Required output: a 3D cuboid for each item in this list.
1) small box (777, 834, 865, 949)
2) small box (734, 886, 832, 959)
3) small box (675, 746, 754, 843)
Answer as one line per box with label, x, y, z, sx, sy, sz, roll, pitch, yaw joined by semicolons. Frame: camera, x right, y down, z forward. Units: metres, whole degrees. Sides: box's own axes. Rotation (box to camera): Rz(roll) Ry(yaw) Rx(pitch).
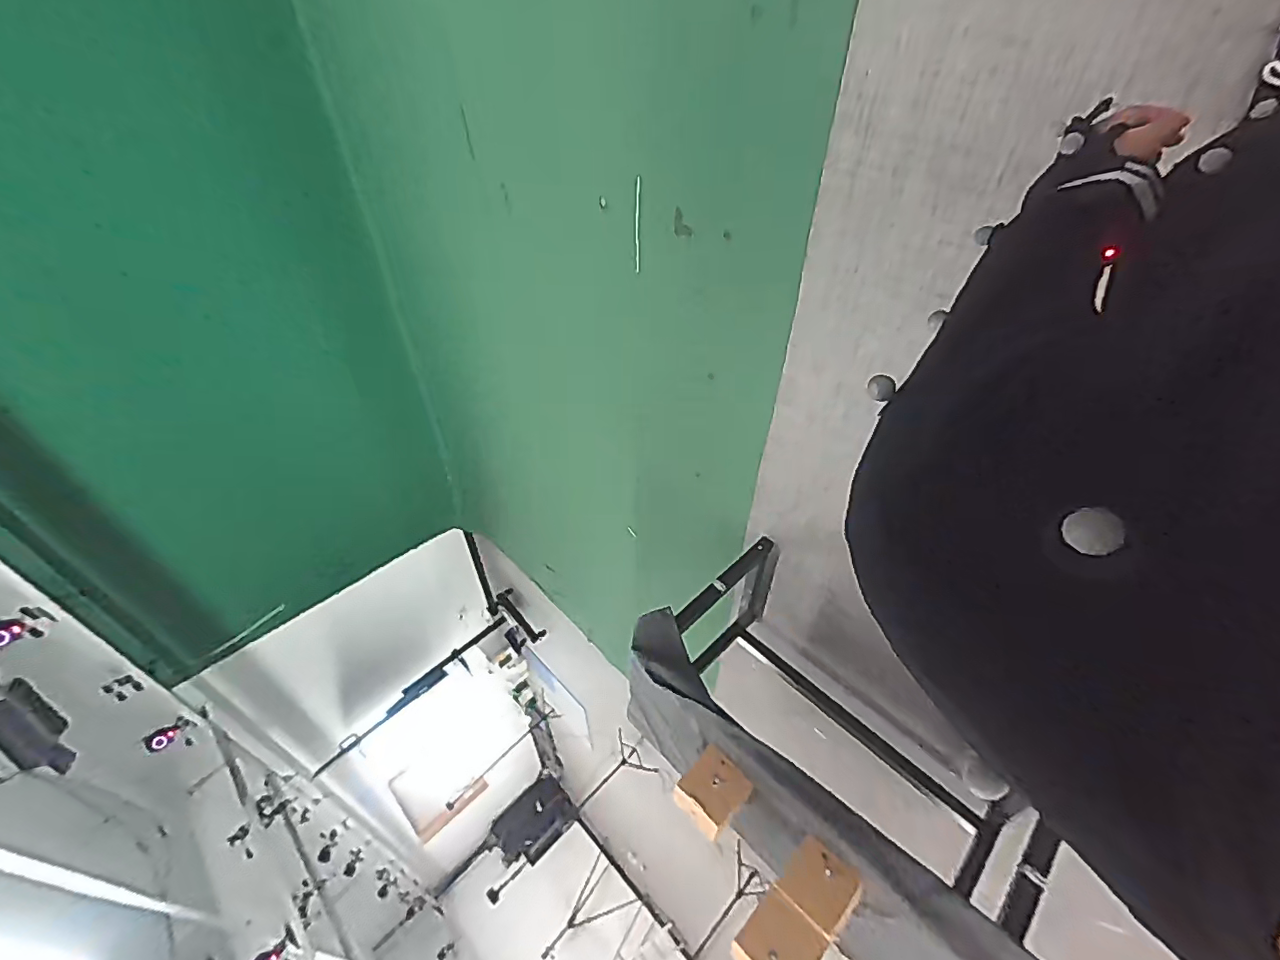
small box;0.480;1.104;1.445;0.168;0.176;0.179;27;138;39
small box;0.363;1.191;1.373;0.179;0.176;0.168;31;140;36
small box;0.229;0.957;1.655;0.168;0.176;0.179;35;143;30
